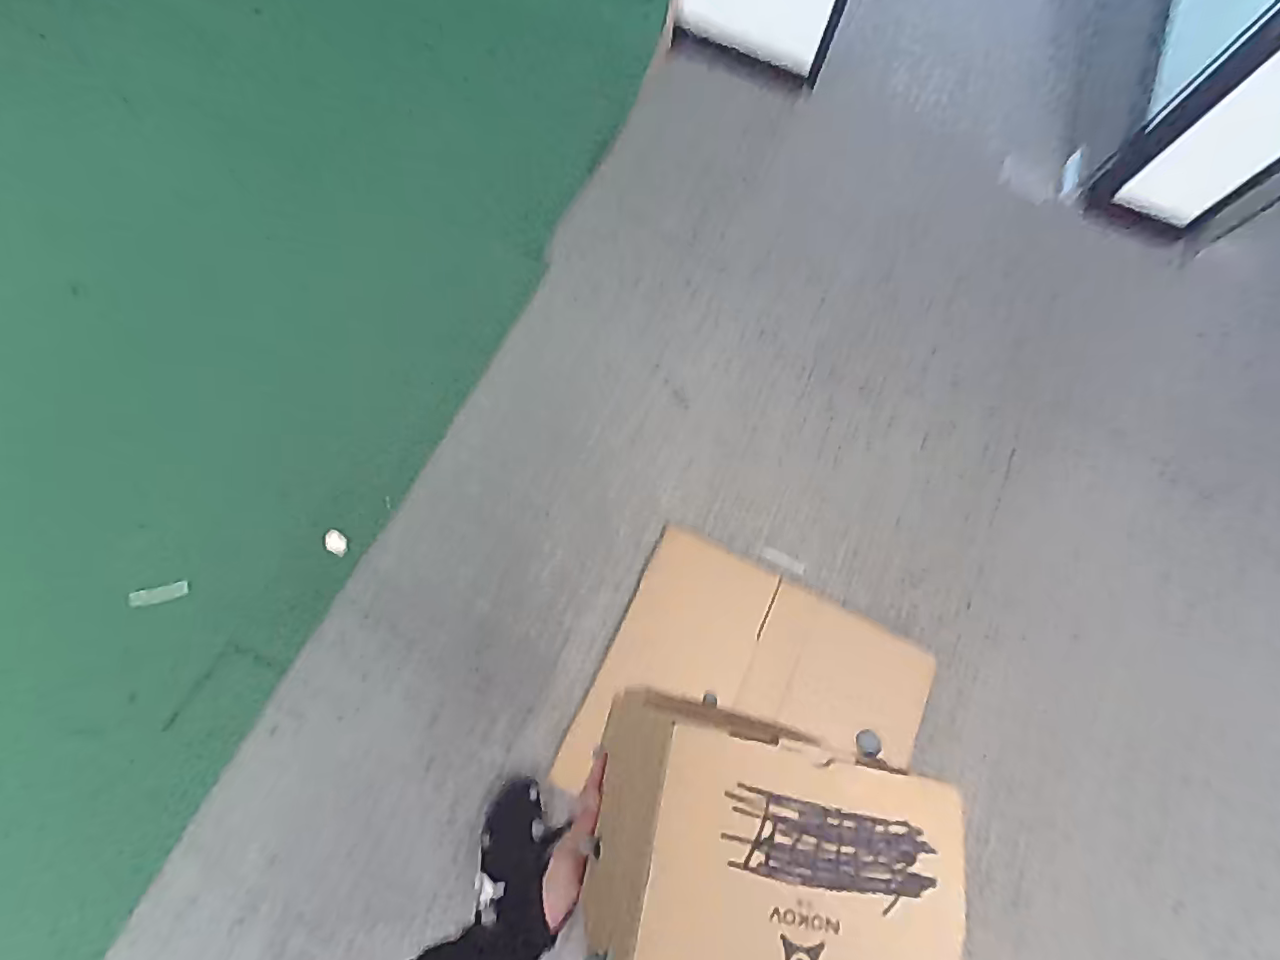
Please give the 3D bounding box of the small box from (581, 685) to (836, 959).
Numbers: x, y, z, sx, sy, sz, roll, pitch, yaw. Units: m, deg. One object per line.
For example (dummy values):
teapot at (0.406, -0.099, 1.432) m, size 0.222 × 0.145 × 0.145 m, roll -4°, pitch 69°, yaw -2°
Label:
small box at (0.050, 0.295, 0.482) m, size 0.168 × 0.176 × 0.179 m, roll 17°, pitch 67°, yaw -2°
